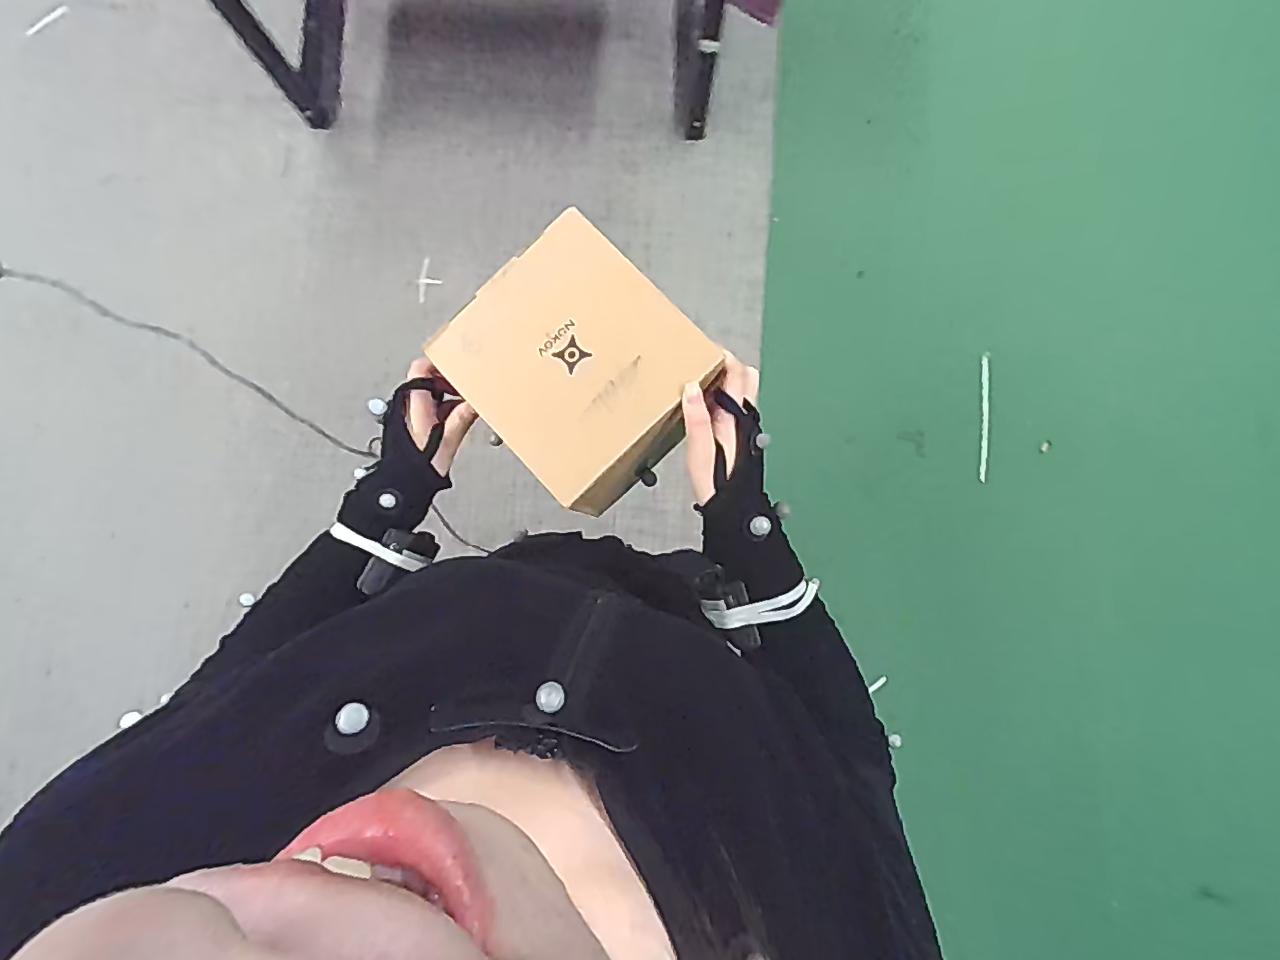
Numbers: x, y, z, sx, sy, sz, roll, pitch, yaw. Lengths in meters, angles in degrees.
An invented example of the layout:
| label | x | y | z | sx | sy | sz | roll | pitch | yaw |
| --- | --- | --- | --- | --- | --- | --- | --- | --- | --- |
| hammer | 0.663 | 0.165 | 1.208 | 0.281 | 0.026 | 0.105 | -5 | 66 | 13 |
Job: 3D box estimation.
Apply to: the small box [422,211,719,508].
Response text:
| label | x | y | z | sx | sy | sz | roll | pitch | yaw |
| --- | --- | --- | --- | --- | --- | --- | --- | --- | --- |
| small box | -0.051 | -0.089 | 0.492 | 0.168 | 0.176 | 0.179 | -43 | 83 | -1 |
